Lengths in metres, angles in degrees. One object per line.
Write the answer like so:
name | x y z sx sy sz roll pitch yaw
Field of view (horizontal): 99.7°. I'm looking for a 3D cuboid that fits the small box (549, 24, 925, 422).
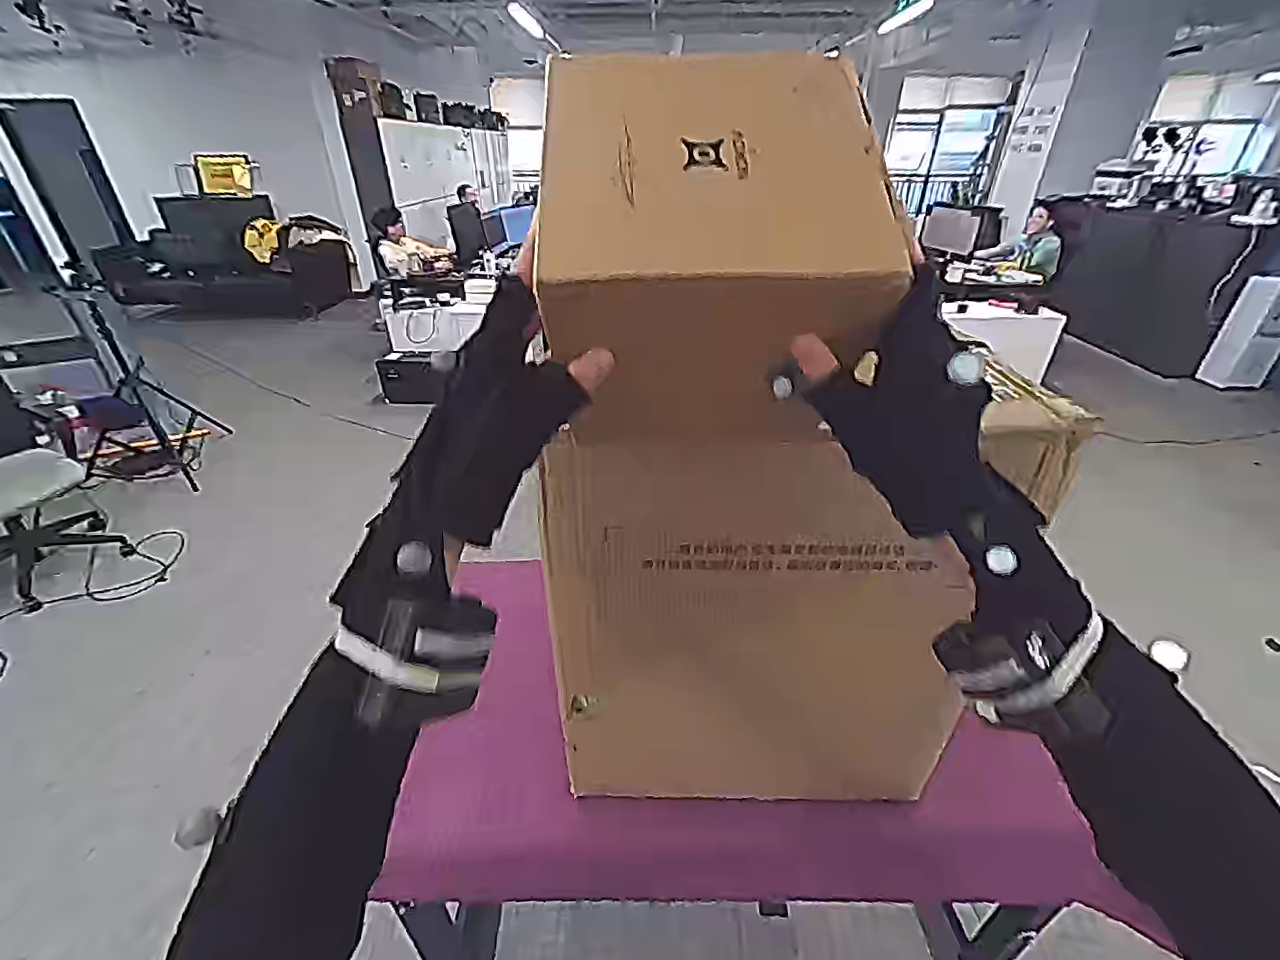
small box | 0.042 -0.149 0.349 0.179 0.176 0.168 -2 66 -1
